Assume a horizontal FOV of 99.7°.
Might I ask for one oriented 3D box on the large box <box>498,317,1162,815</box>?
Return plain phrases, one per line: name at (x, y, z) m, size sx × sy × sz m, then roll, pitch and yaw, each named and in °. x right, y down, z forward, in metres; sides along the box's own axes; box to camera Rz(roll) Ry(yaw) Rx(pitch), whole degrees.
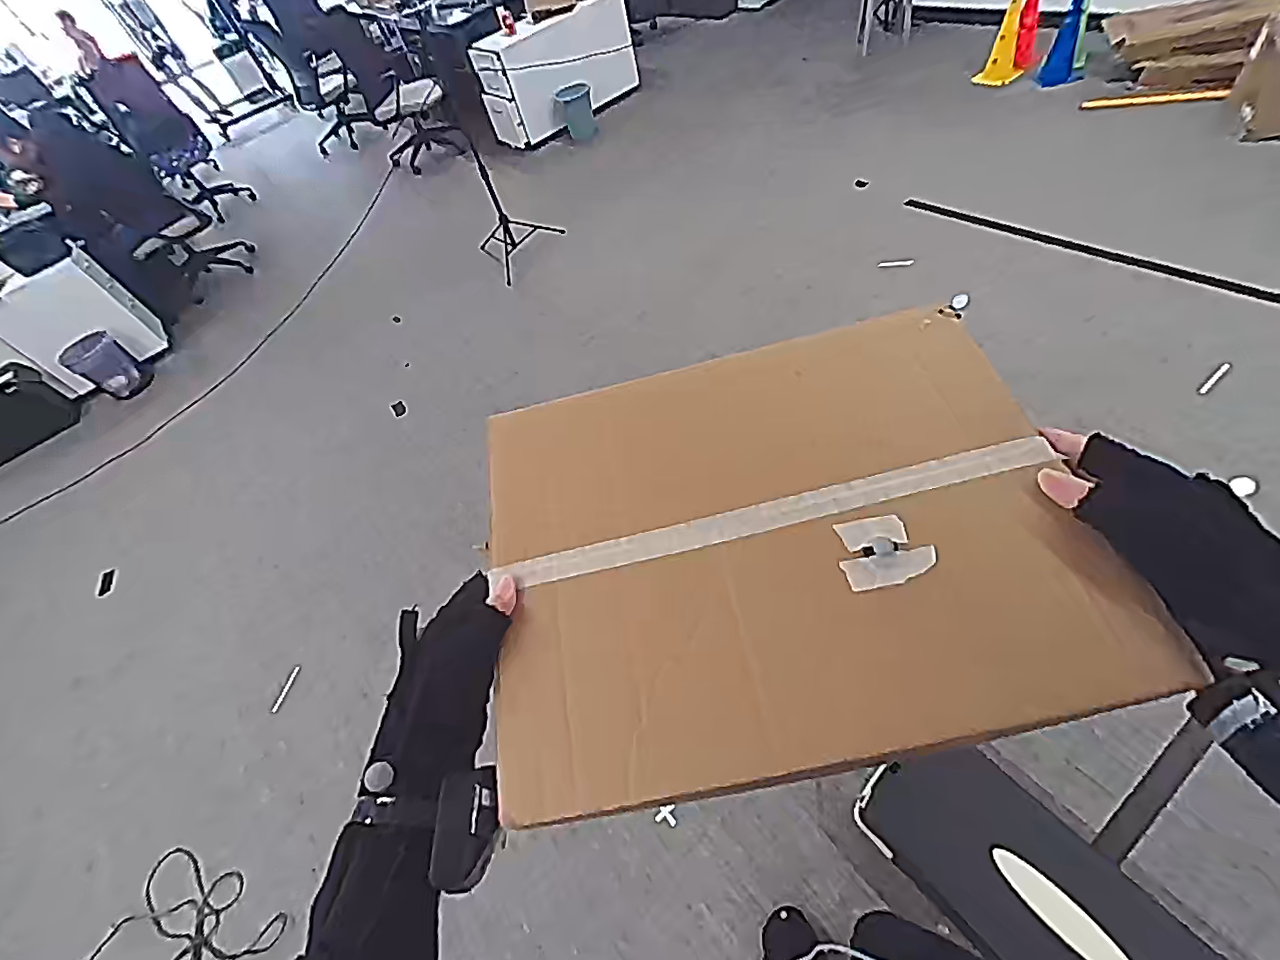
large box at (0.114, 0.106, 0.528) m, size 0.408 × 0.320 × 0.320 m, roll -14°, pitch 59°, yaw 3°
